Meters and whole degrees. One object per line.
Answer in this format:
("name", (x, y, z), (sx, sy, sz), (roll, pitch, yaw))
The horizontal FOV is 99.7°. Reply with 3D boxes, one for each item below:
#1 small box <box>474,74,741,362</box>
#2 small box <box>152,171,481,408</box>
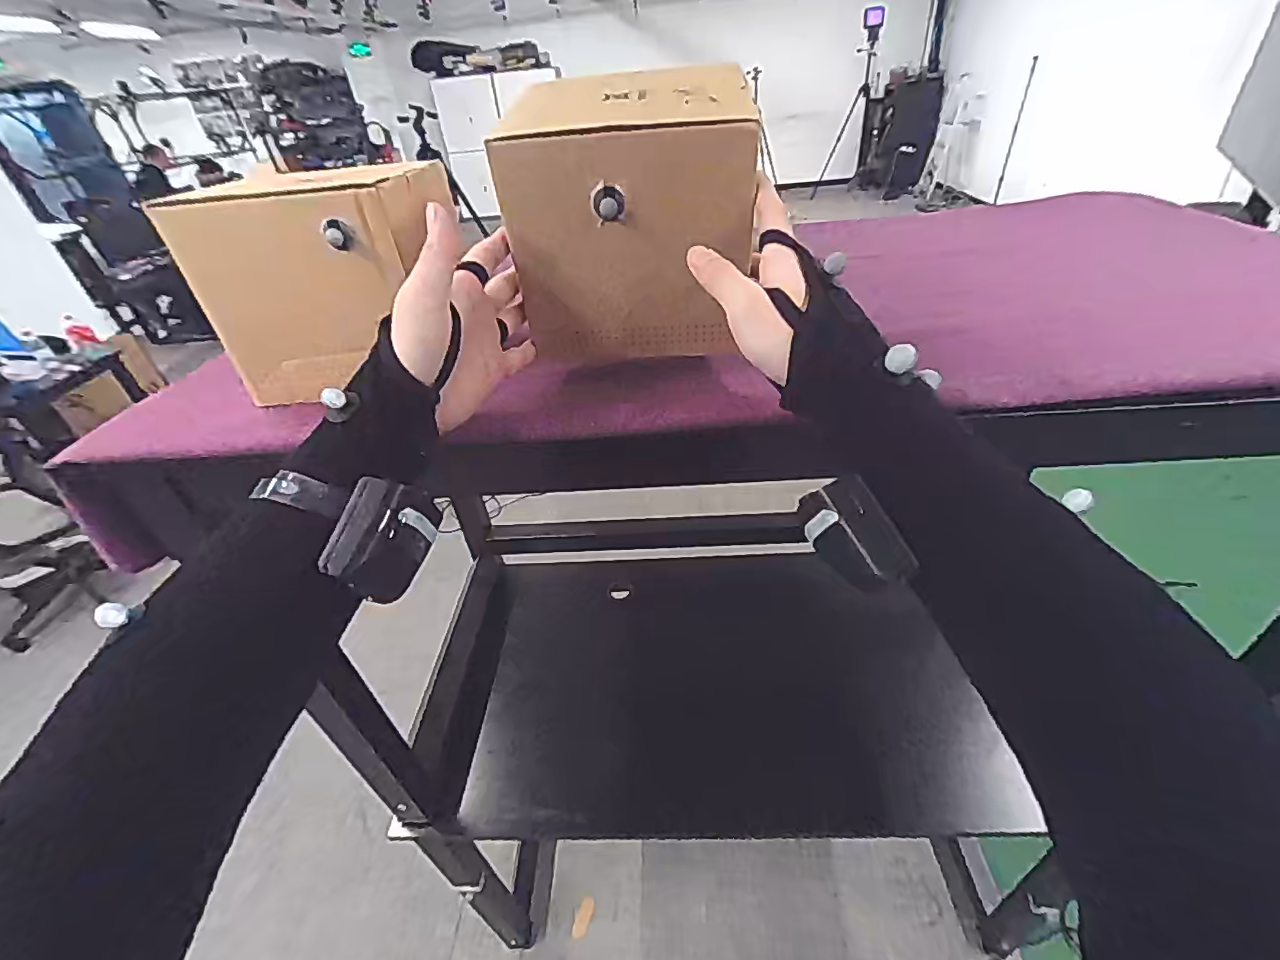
("small box", (-0.009, -0.212, 0.451), (0.179, 0.176, 0.168), (-1, 47, 6))
("small box", (-0.270, -0.177, 0.504), (0.179, 0.176, 0.168), (-5, 36, 2))
